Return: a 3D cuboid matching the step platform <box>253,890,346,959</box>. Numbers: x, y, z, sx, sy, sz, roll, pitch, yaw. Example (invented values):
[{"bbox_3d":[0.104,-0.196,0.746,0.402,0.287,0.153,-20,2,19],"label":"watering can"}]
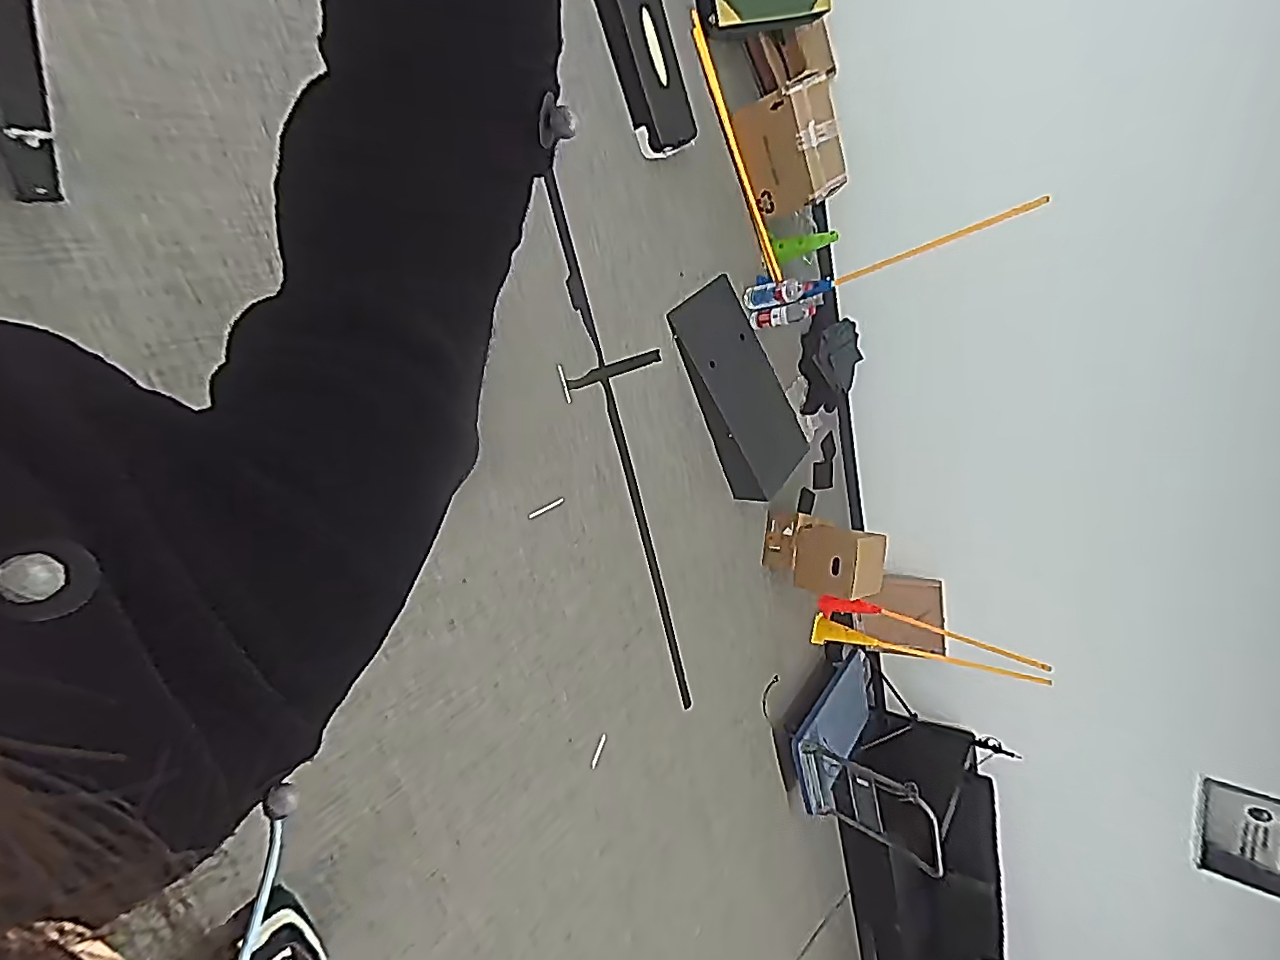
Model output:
[{"bbox_3d":[-0.985,1.253,1.124,0.684,0.204,0.286,-23,108,-44],"label":"step platform"}]
